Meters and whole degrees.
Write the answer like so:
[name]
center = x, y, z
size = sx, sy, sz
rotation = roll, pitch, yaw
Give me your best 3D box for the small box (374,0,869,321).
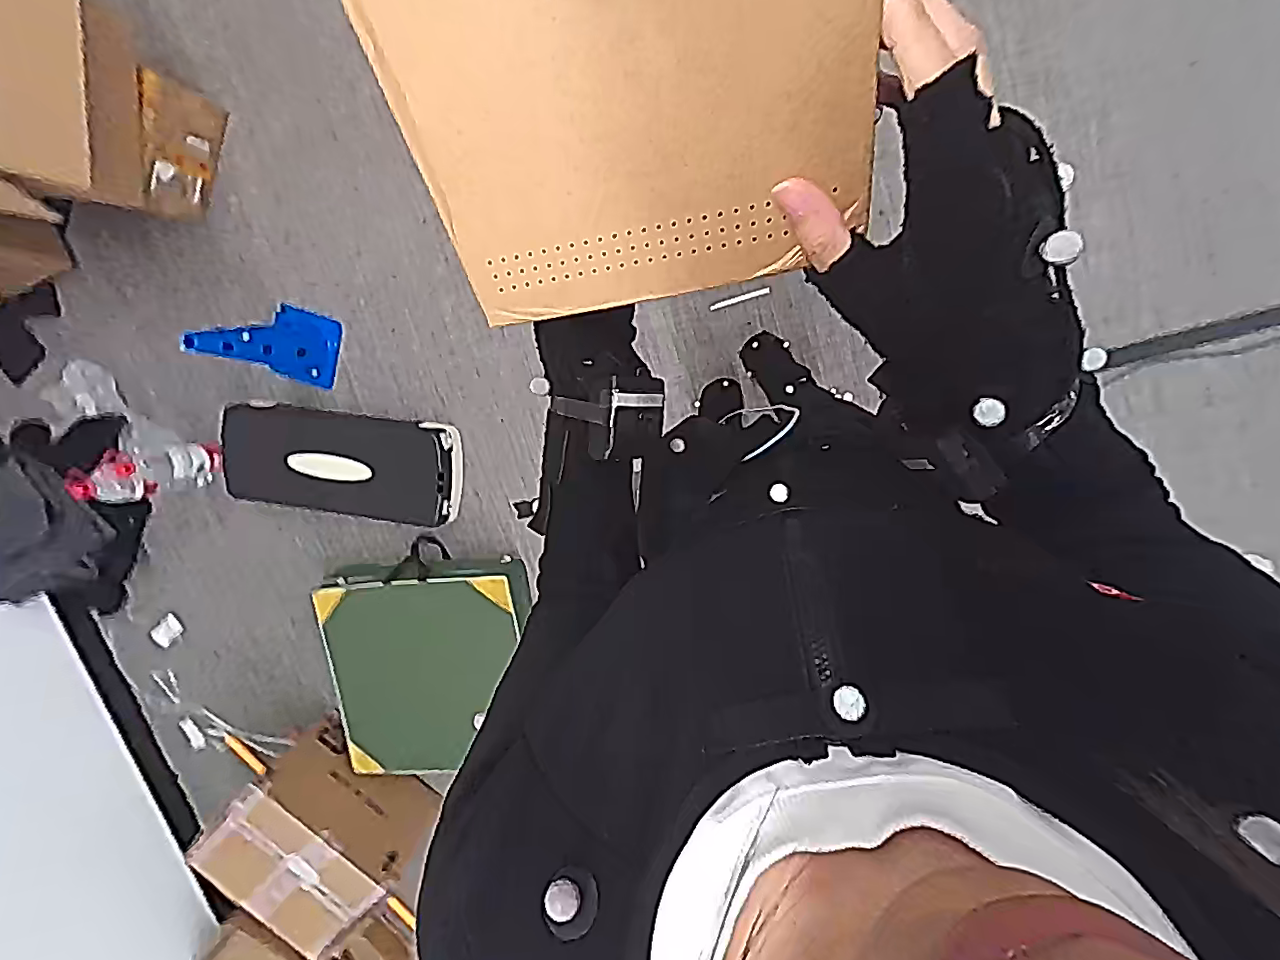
[small box]
center = 0.003, -0.193, 0.253
size = 0.179, 0.168, 0.176
rotation = -5, 136, 13
